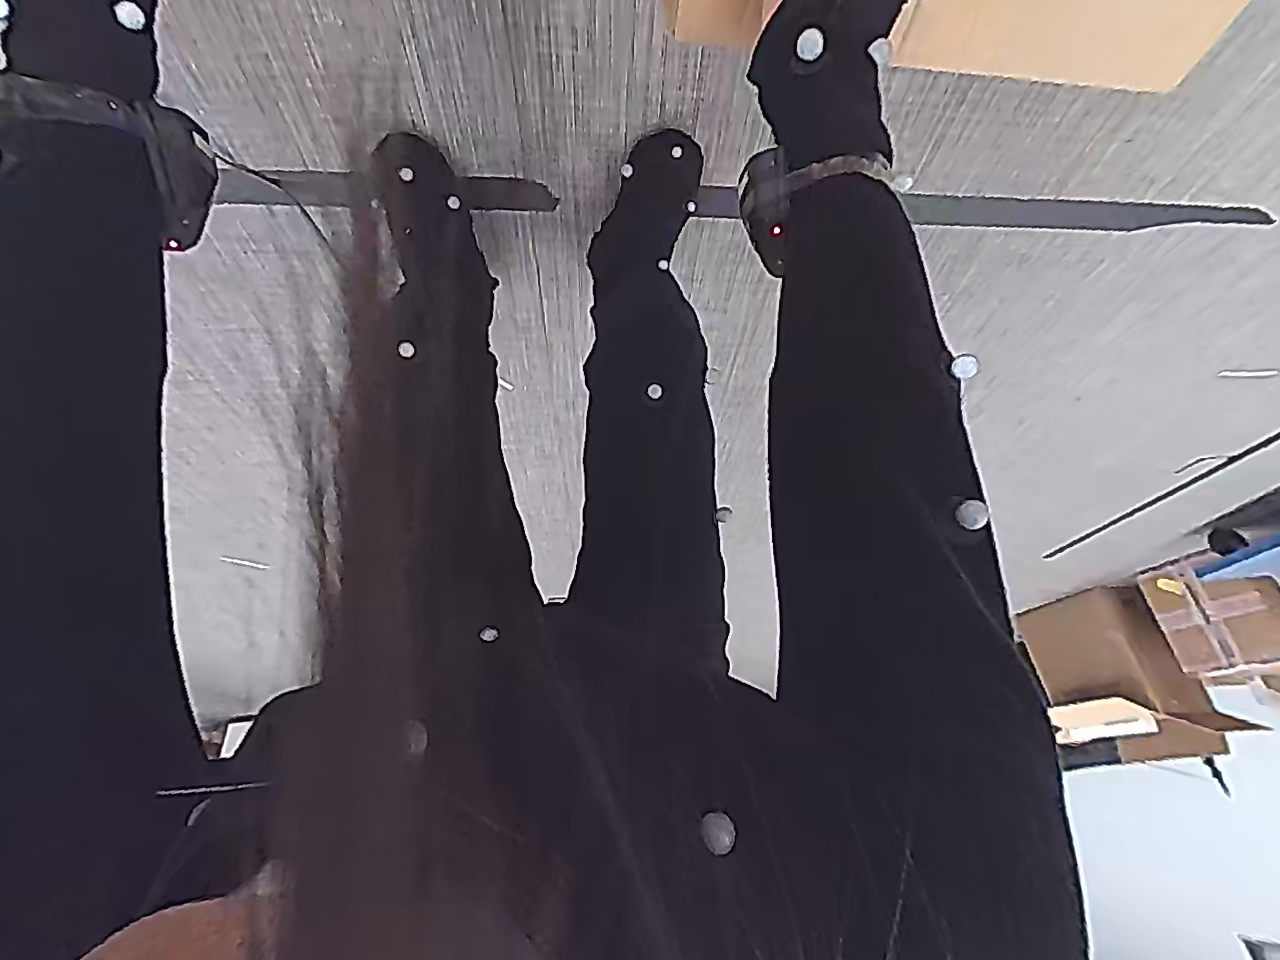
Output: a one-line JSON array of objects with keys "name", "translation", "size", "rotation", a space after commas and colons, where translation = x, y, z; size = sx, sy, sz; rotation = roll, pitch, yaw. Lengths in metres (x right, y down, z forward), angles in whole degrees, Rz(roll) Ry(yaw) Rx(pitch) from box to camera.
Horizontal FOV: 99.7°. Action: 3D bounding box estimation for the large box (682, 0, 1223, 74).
[{"name": "large box", "translation": [0.230, -0.530, 0.357], "size": [0.408, 0.320, 0.320], "rotation": [-1, 151, -8]}]
